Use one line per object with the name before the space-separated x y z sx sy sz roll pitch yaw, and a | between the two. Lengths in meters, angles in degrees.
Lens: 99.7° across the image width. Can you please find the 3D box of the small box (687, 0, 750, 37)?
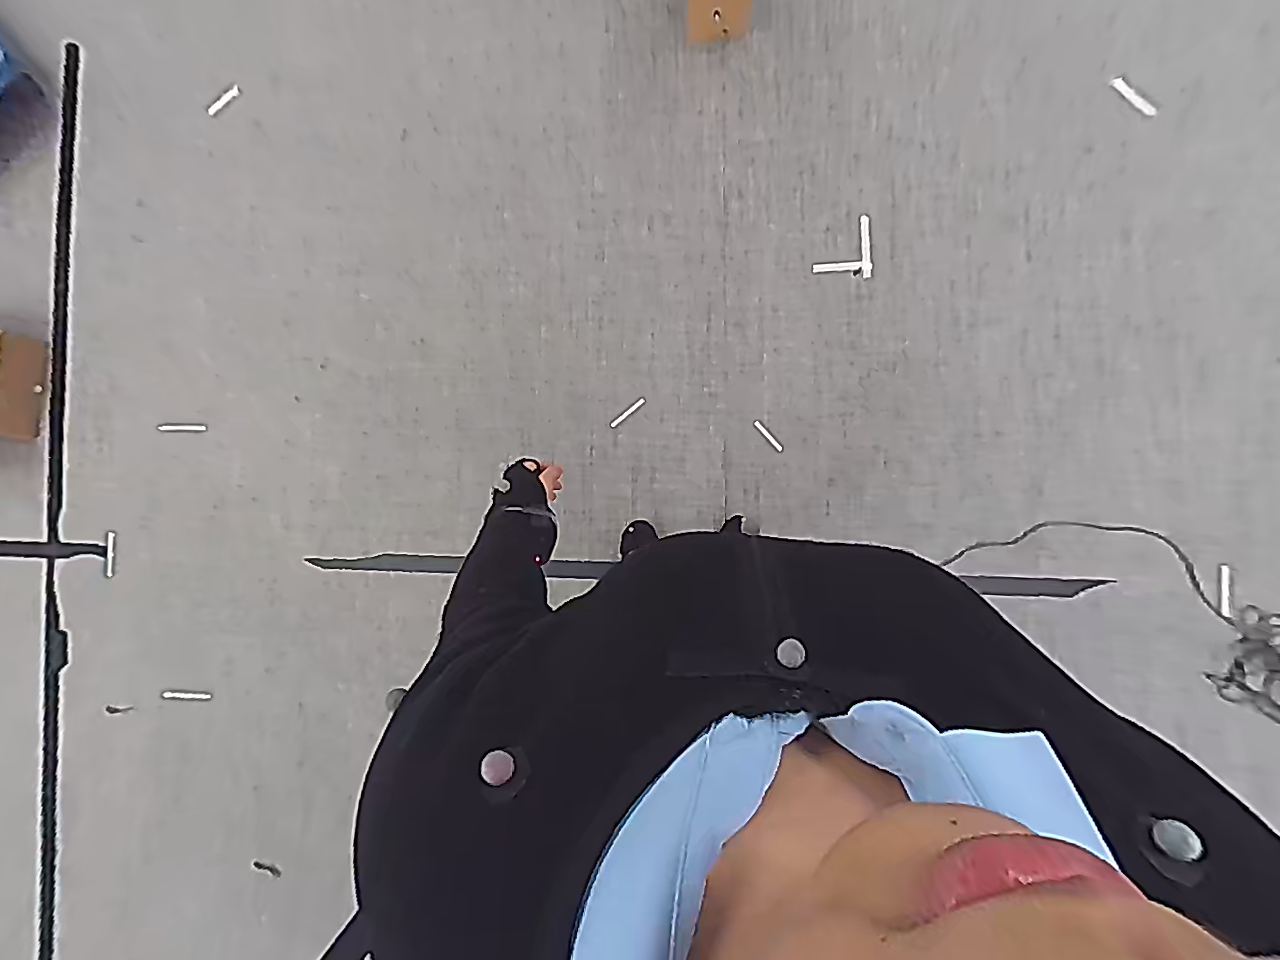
small box | 0.212 -1.341 1.459 0.168 0.176 0.179 -2 88 4
